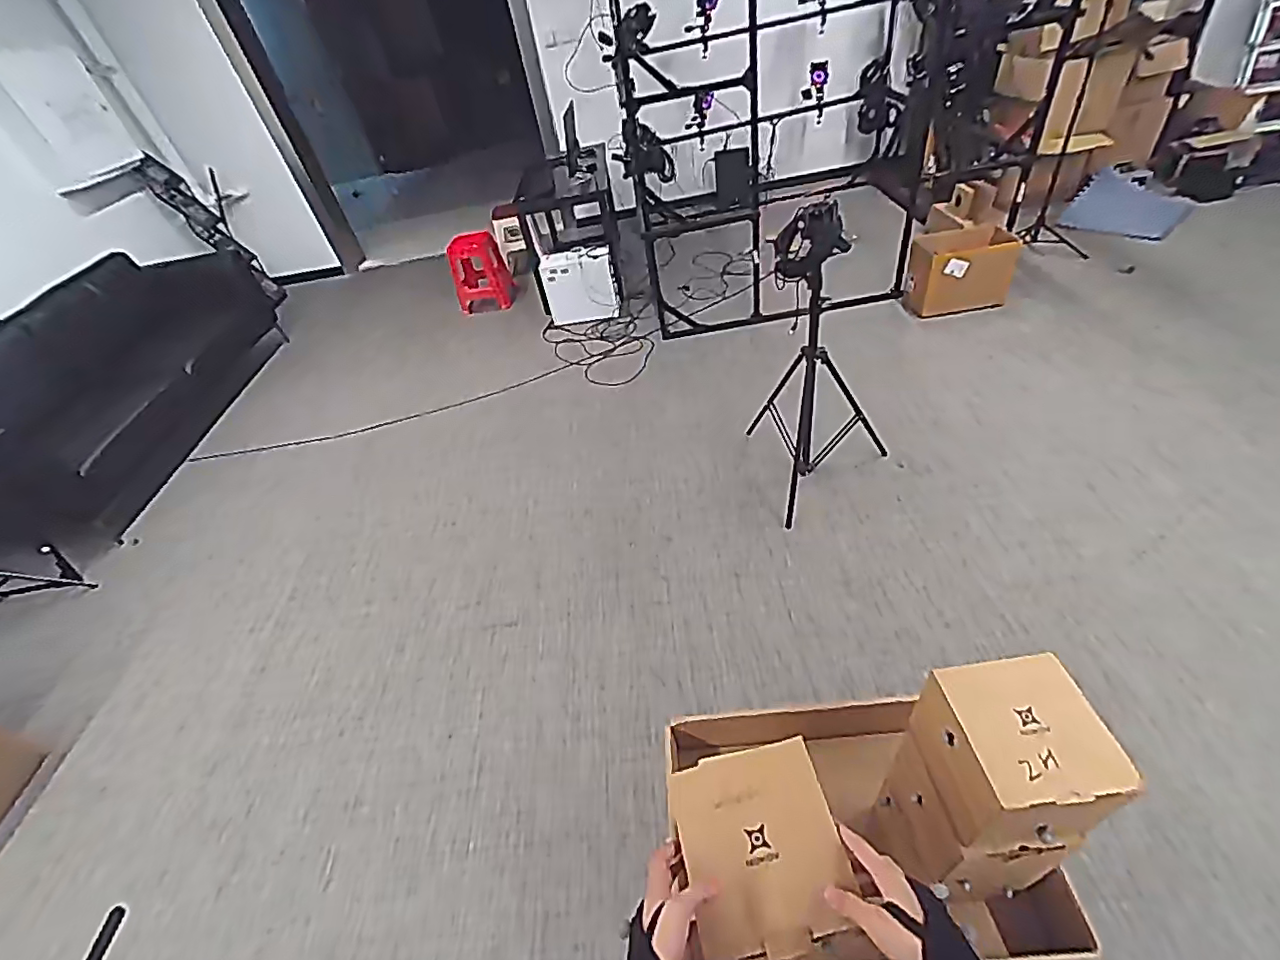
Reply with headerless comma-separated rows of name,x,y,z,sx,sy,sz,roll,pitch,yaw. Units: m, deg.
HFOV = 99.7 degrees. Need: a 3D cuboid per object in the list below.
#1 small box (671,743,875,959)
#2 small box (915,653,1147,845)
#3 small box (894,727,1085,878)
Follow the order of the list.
small box,0.147,0.433,0.625,0.168,0.176,0.179,-17,50,2
small box,0.499,0.362,0.729,0.168,0.176,0.179,-10,43,3
small box,0.517,0.490,0.832,0.168,0.176,0.179,-9,43,3
